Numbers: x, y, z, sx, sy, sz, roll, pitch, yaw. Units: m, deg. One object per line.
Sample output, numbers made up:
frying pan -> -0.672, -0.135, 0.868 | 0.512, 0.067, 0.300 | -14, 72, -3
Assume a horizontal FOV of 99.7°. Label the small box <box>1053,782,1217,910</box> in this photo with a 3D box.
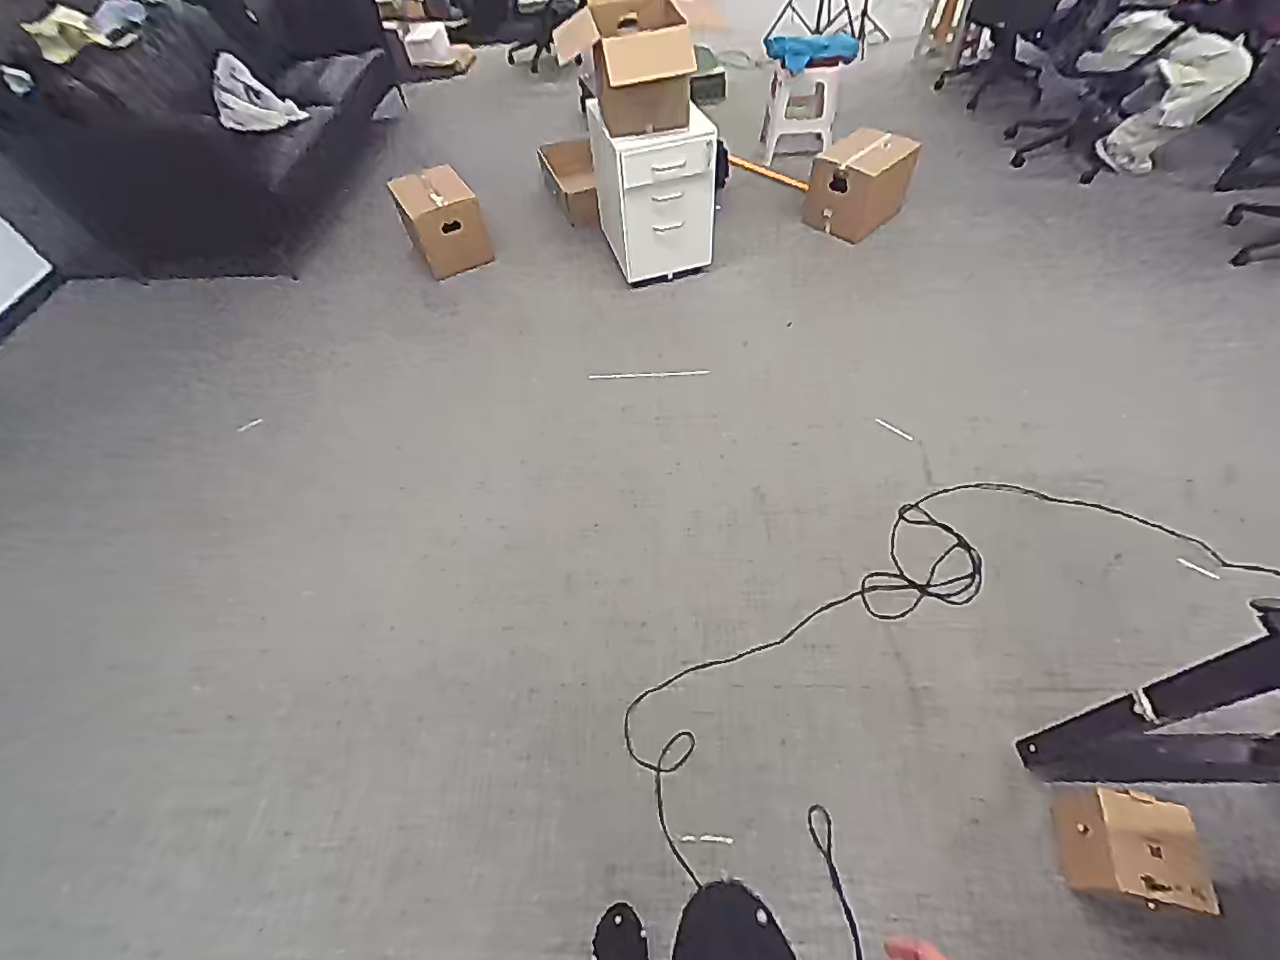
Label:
small box -> 0.982, 0.742, 1.098 | 0.168, 0.176, 0.179 | 9, 54, 11
